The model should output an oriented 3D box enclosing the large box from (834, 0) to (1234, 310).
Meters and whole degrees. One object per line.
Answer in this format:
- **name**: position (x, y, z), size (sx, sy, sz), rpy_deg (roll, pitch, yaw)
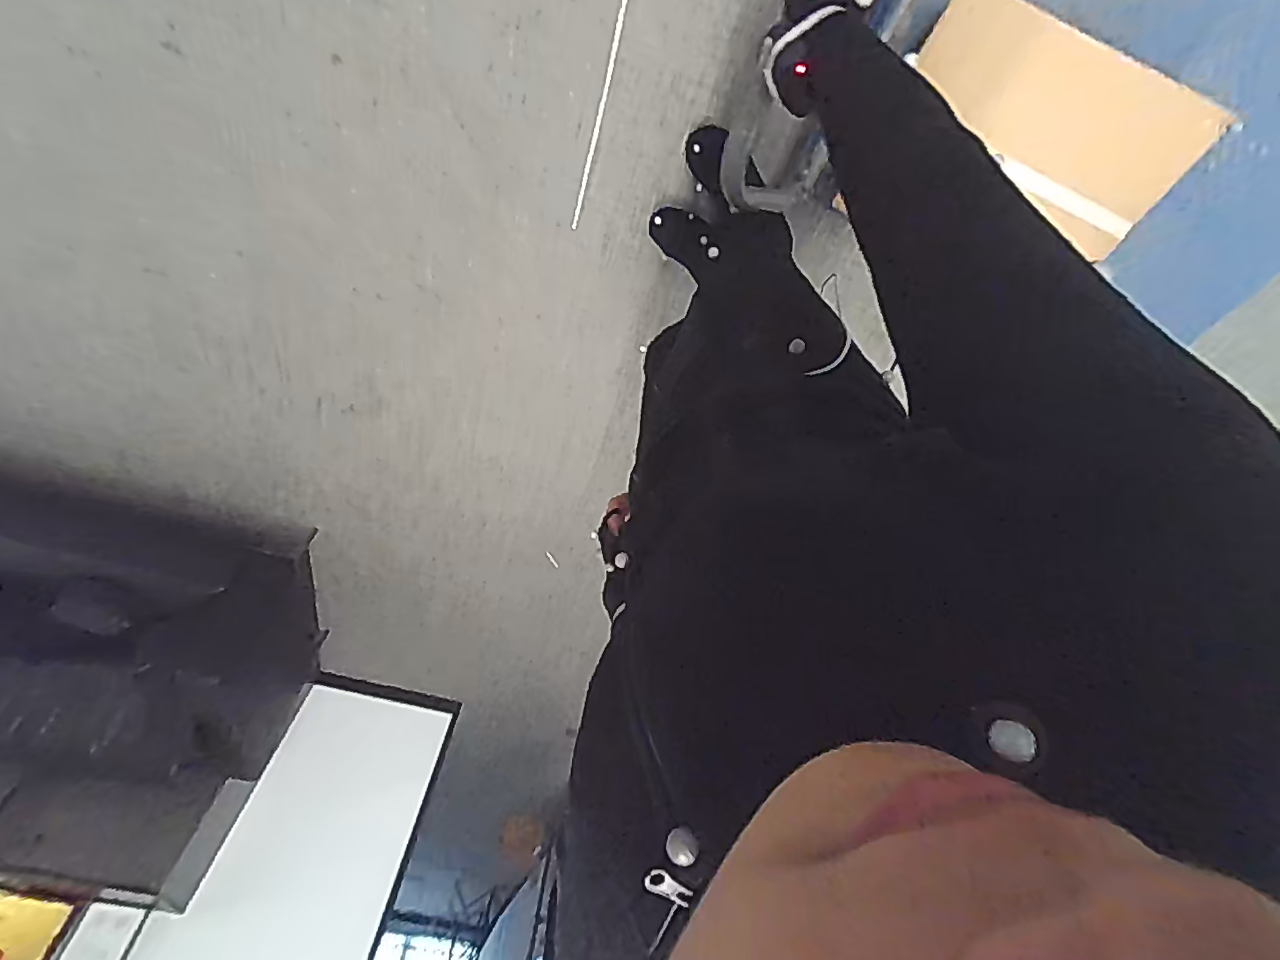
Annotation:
- **large box**: position (0.594, -0.555, 0.920), size (0.408, 0.320, 0.320), rpy_deg (29, 129, 2)
